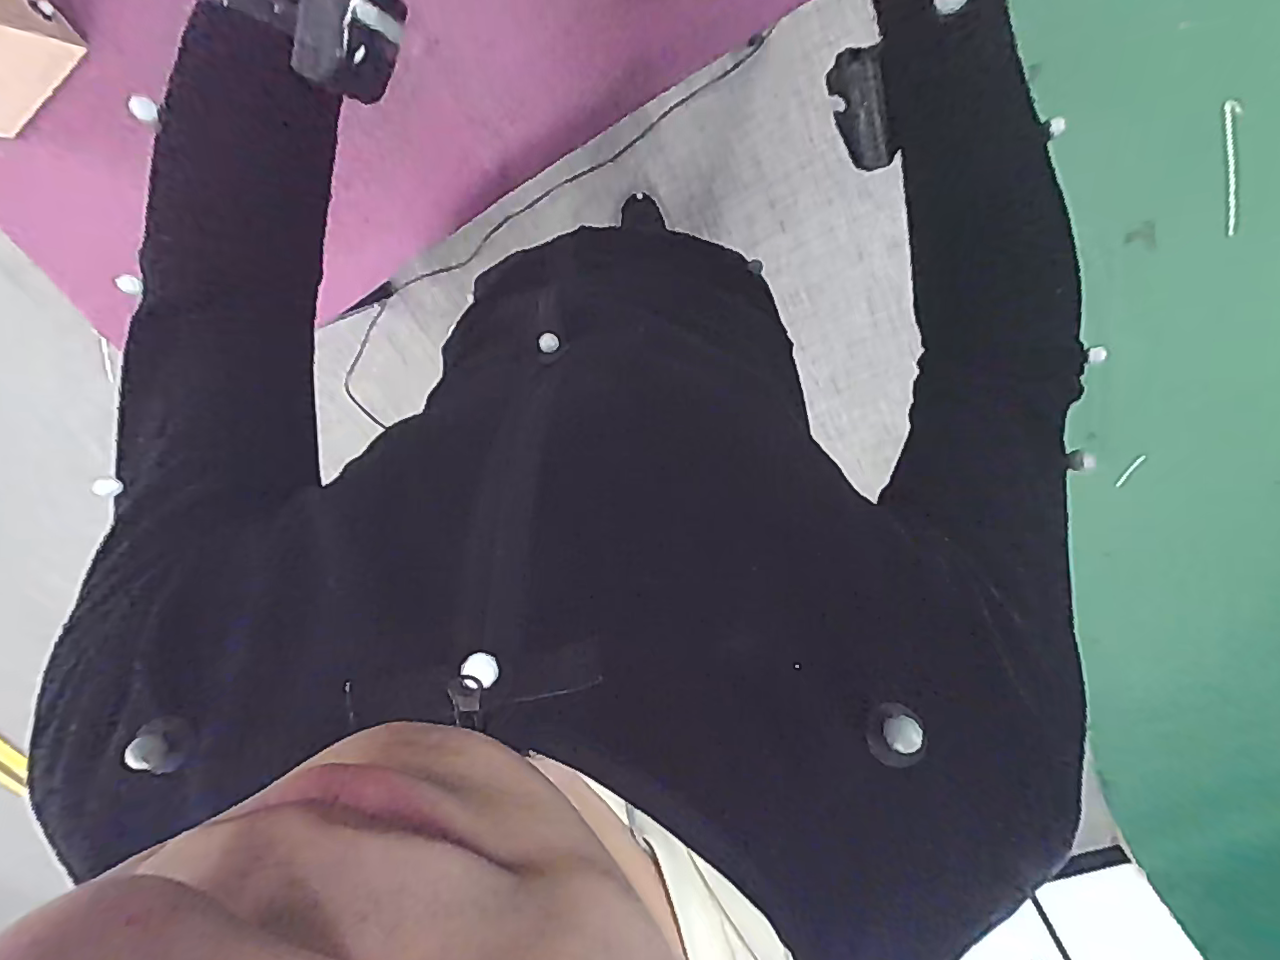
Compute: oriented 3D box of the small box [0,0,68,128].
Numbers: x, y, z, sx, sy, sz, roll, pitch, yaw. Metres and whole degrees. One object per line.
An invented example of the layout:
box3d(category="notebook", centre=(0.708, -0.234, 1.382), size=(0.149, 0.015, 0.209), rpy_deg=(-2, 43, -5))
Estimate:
box3d(category="small box", centre=(-0.787, -0.511, 0.571), size=(0.179, 0.176, 0.168), rpy_deg=(-29, 113, 16))
